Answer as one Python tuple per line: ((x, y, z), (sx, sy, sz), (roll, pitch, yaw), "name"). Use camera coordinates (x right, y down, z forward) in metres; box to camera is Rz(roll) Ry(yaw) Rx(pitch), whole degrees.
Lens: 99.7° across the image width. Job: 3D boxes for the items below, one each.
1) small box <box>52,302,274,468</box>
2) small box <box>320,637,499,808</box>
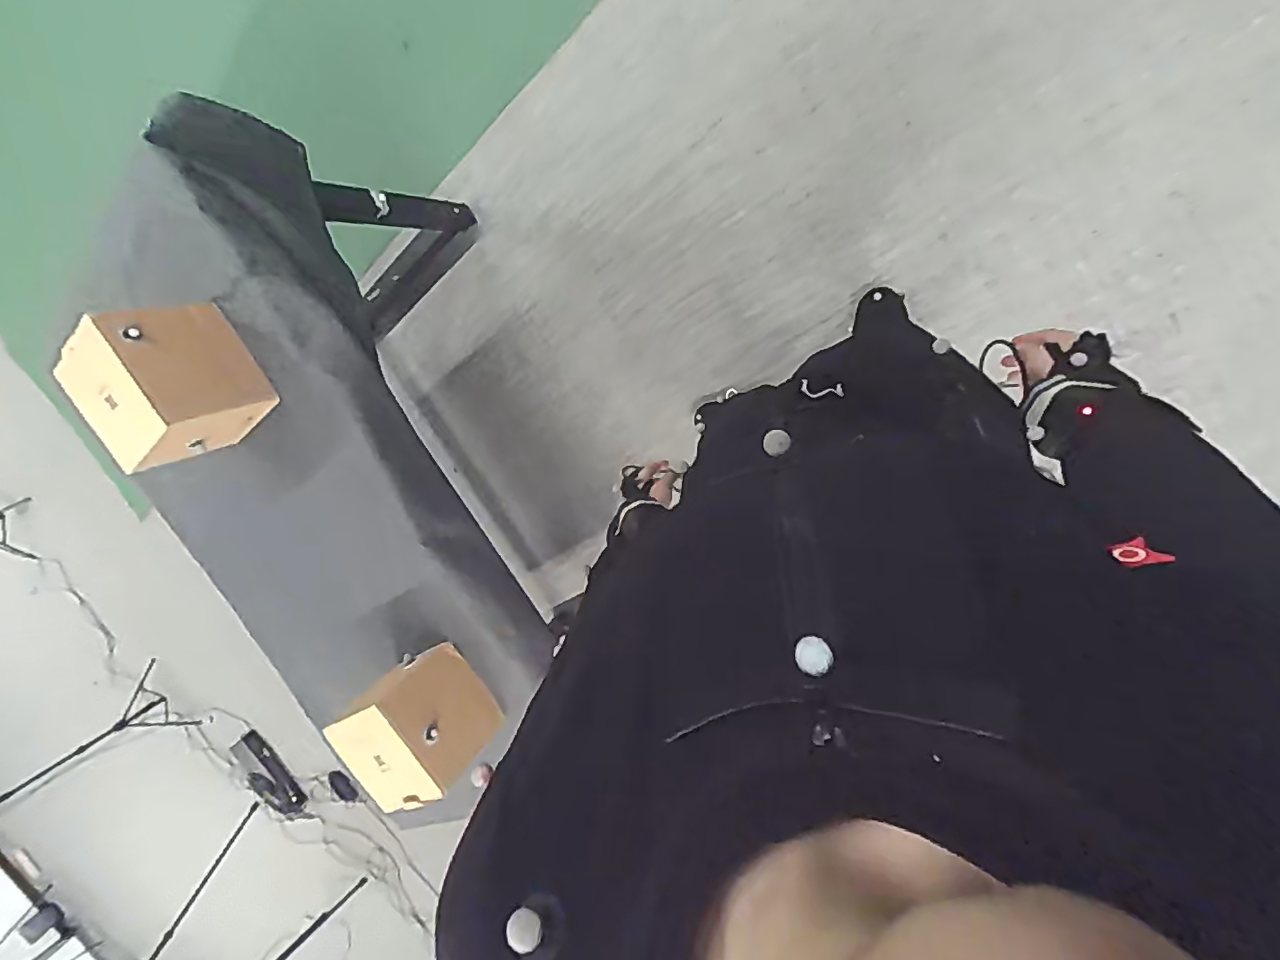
((-0.703, -0.148, 0.812), (0.168, 0.176, 0.179), (-26, 99, 29), "small box")
((-0.368, 0.394, 0.891), (0.168, 0.176, 0.179), (-30, 96, 28), "small box")
